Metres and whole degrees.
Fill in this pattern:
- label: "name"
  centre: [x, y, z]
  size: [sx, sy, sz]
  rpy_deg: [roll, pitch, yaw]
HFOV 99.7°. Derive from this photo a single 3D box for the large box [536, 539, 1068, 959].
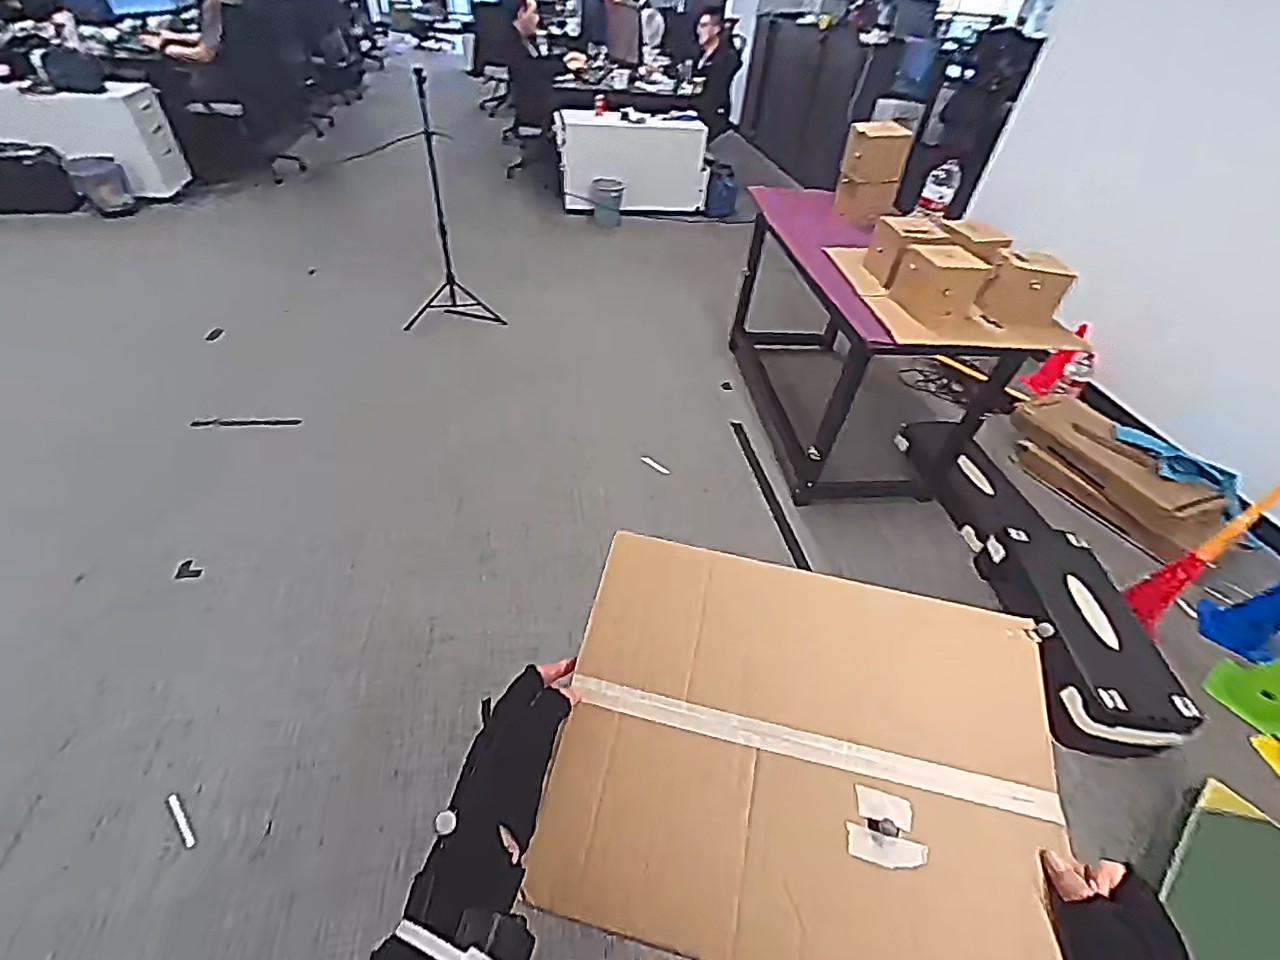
- label: "large box"
  centre: [0.141, 0.301, 0.595]
  size: [0.408, 0.320, 0.320]
  rpy_deg: [12, 61, 7]
